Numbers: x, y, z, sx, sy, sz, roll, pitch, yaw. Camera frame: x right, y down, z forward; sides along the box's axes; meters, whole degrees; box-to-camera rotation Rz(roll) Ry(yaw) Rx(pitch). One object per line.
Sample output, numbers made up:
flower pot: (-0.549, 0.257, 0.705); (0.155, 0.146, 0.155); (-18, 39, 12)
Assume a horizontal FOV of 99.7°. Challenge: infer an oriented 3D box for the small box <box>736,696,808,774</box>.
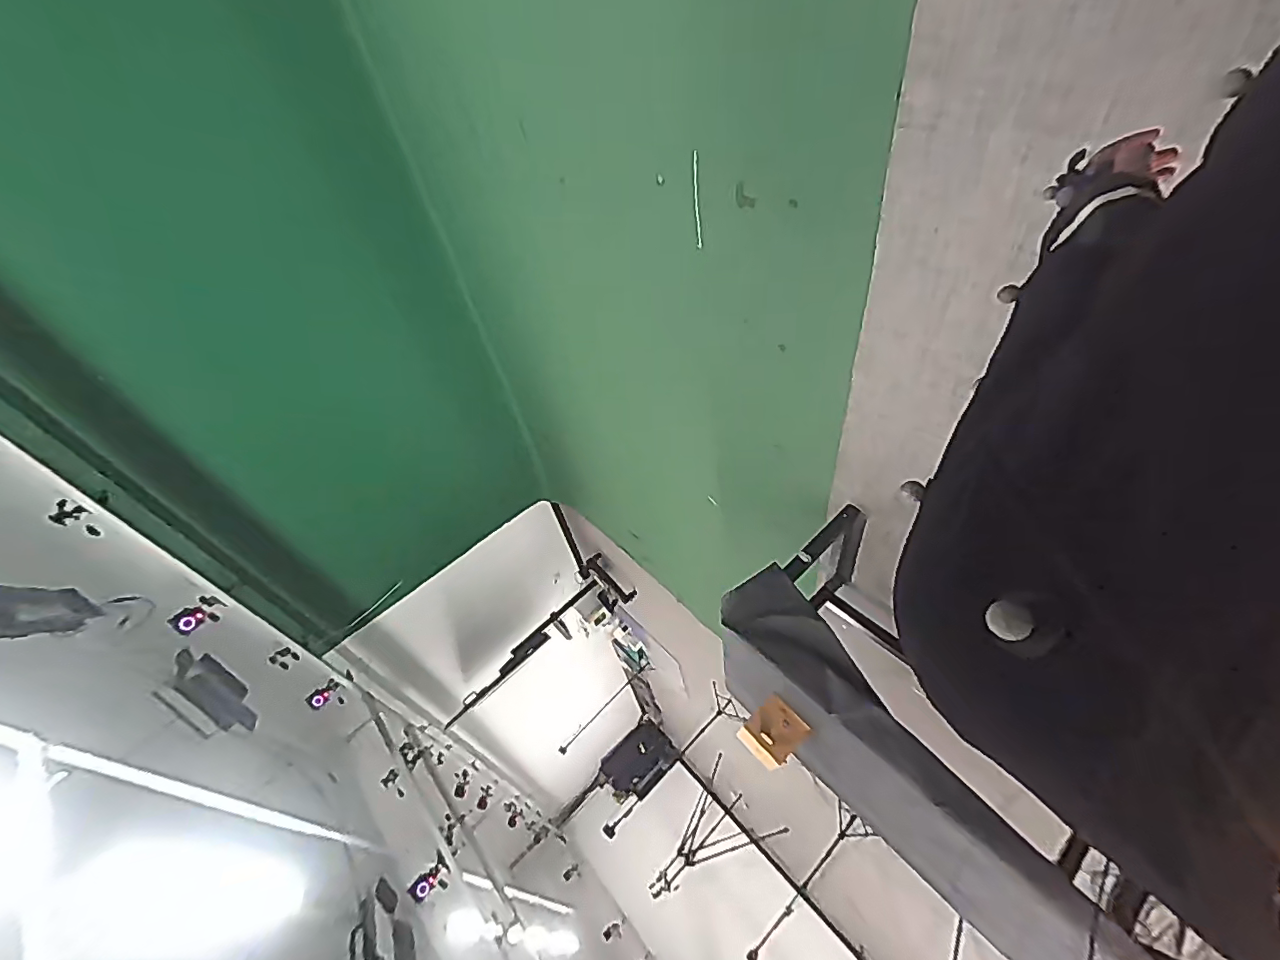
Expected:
small box: (0.460, 0.889, 1.885); (0.168, 0.176, 0.179); (42, 156, 25)
